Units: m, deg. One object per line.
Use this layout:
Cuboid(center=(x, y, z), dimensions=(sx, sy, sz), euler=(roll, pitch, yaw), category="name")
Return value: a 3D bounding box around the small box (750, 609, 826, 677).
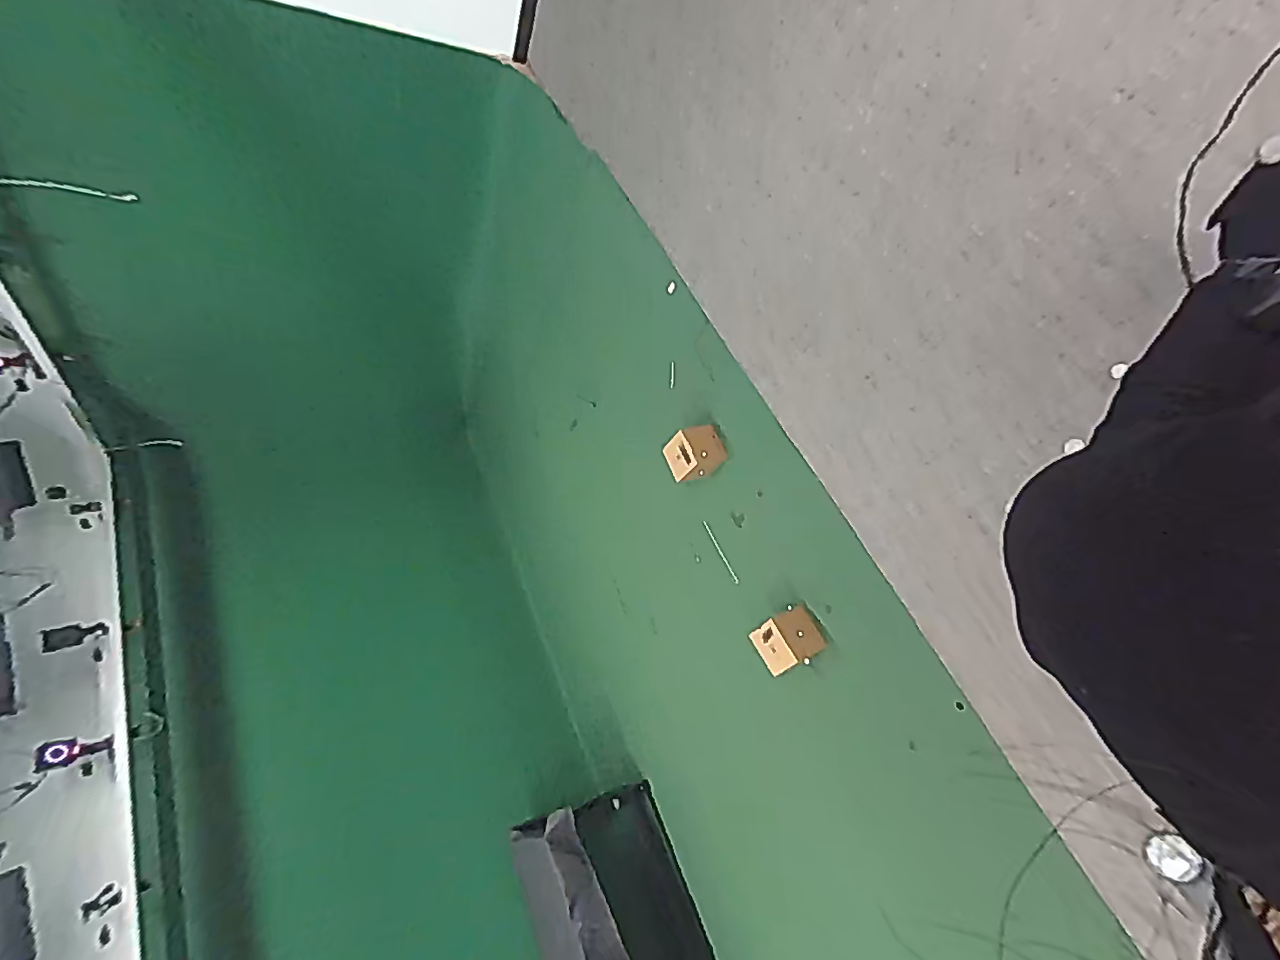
Cuboid(center=(0.555, 0.602, 2.025), dimensions=(0.179, 0.176, 0.168), euler=(59, 143, 24), category="small box")
